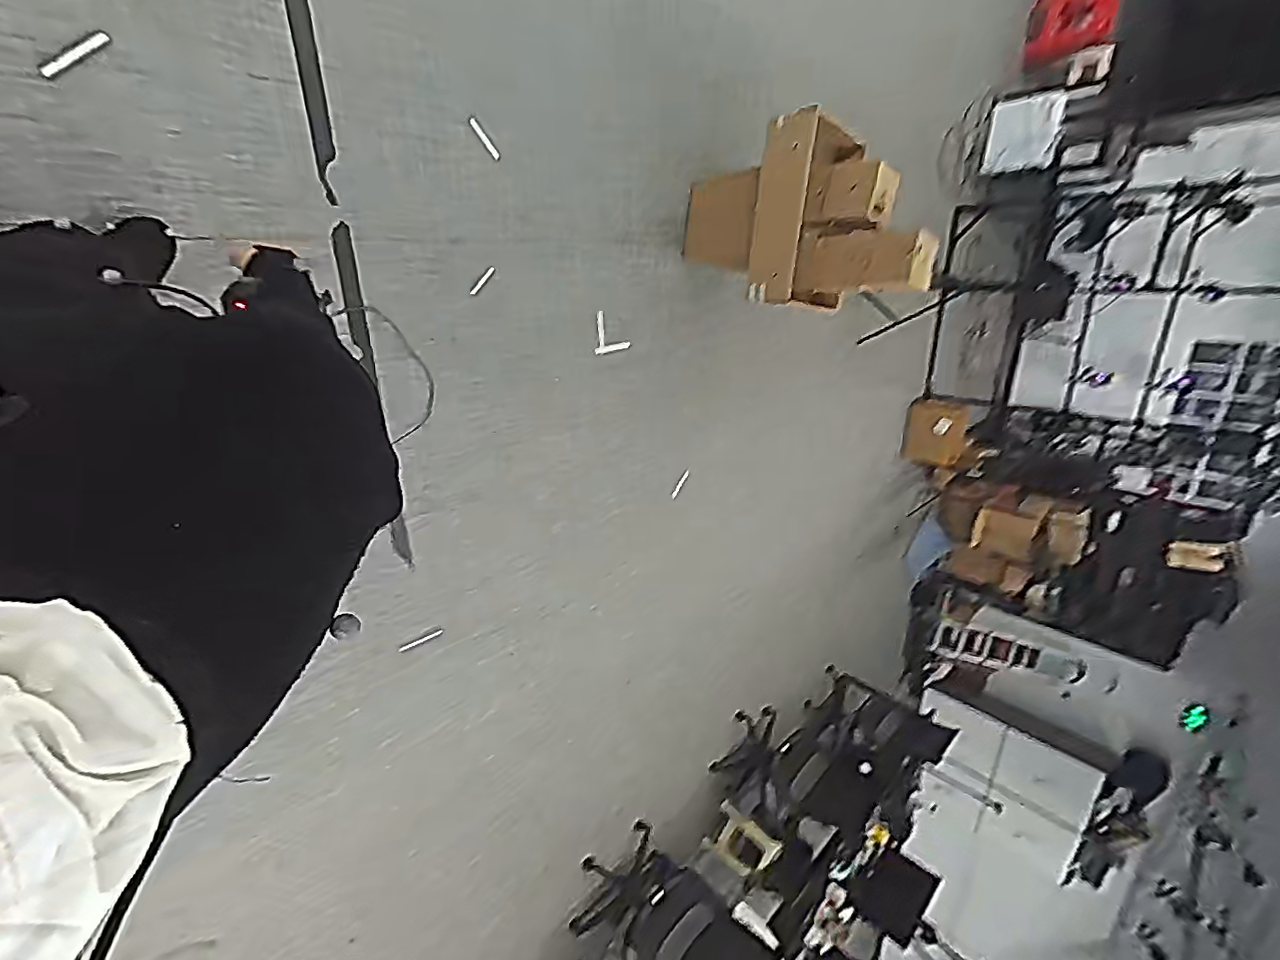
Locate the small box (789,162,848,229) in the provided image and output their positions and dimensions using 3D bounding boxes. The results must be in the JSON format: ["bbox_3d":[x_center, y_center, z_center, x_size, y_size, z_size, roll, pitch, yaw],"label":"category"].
[{"bbox_3d":[0.661,-1.015,1.948,0.168,0.176,0.179,-7,110,-44],"label":"small box"}]

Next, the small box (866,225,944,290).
[{"bbox_3d":[0.871,-0.724,1.780,0.179,0.176,0.168,-6,106,-45],"label":"small box"}]

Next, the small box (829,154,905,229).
[{"bbox_3d":[0.763,-0.967,1.829,0.168,0.176,0.179,-1,106,-45],"label":"small box"}]
